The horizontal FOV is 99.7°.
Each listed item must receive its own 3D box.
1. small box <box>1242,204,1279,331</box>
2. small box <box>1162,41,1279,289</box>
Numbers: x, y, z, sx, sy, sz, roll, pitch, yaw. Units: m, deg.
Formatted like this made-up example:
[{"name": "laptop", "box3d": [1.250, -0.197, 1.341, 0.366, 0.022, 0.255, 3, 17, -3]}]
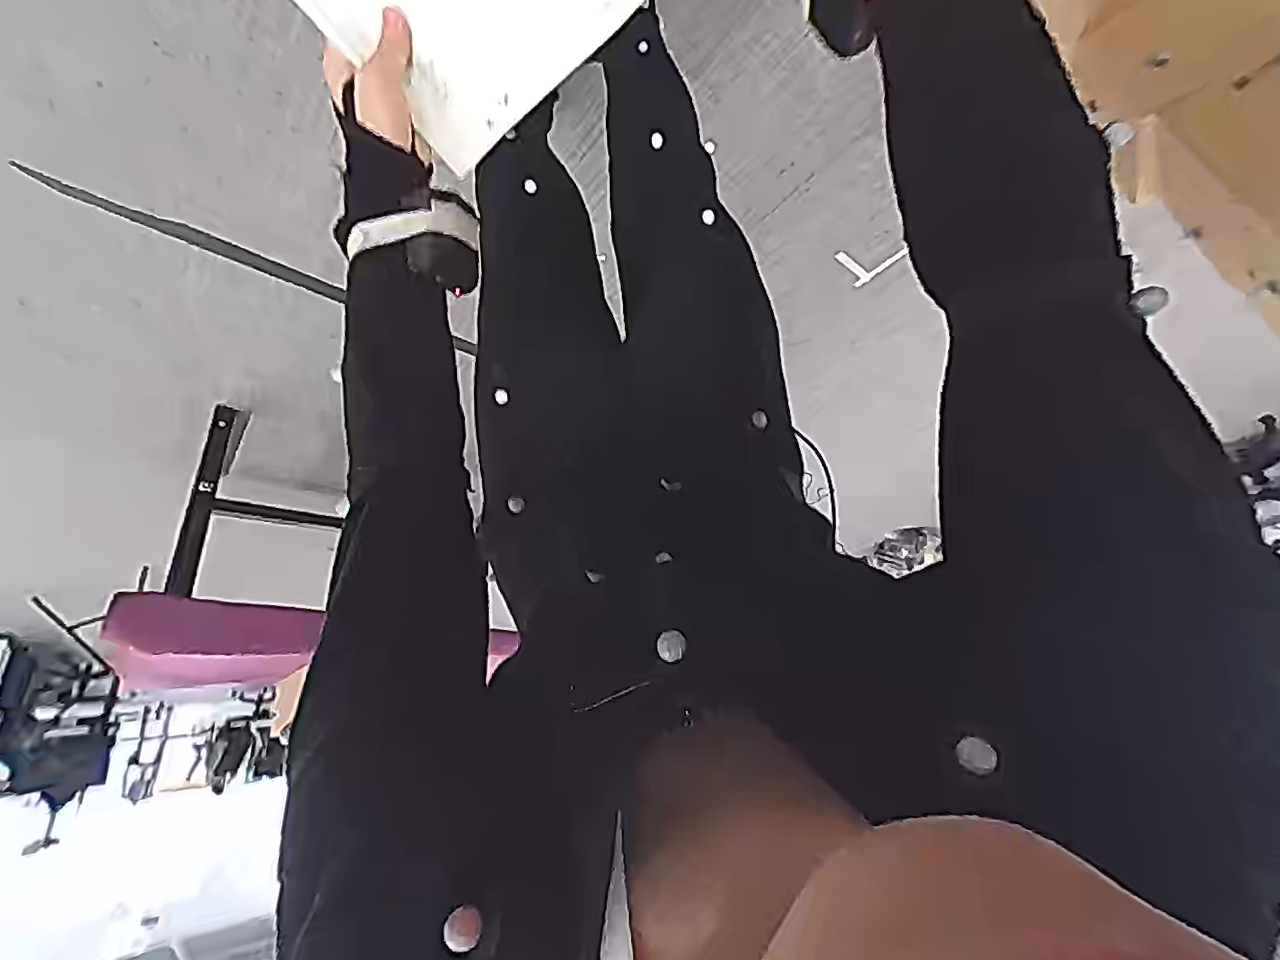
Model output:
[{"name": "small box", "box3d": [0.740, -0.211, 0.507, 0.179, 0.176, 0.168, -27, 148, 35]}, {"name": "small box", "box3d": [0.715, -0.353, 0.587, 0.168, 0.176, 0.179, -29, 146, 37]}]
